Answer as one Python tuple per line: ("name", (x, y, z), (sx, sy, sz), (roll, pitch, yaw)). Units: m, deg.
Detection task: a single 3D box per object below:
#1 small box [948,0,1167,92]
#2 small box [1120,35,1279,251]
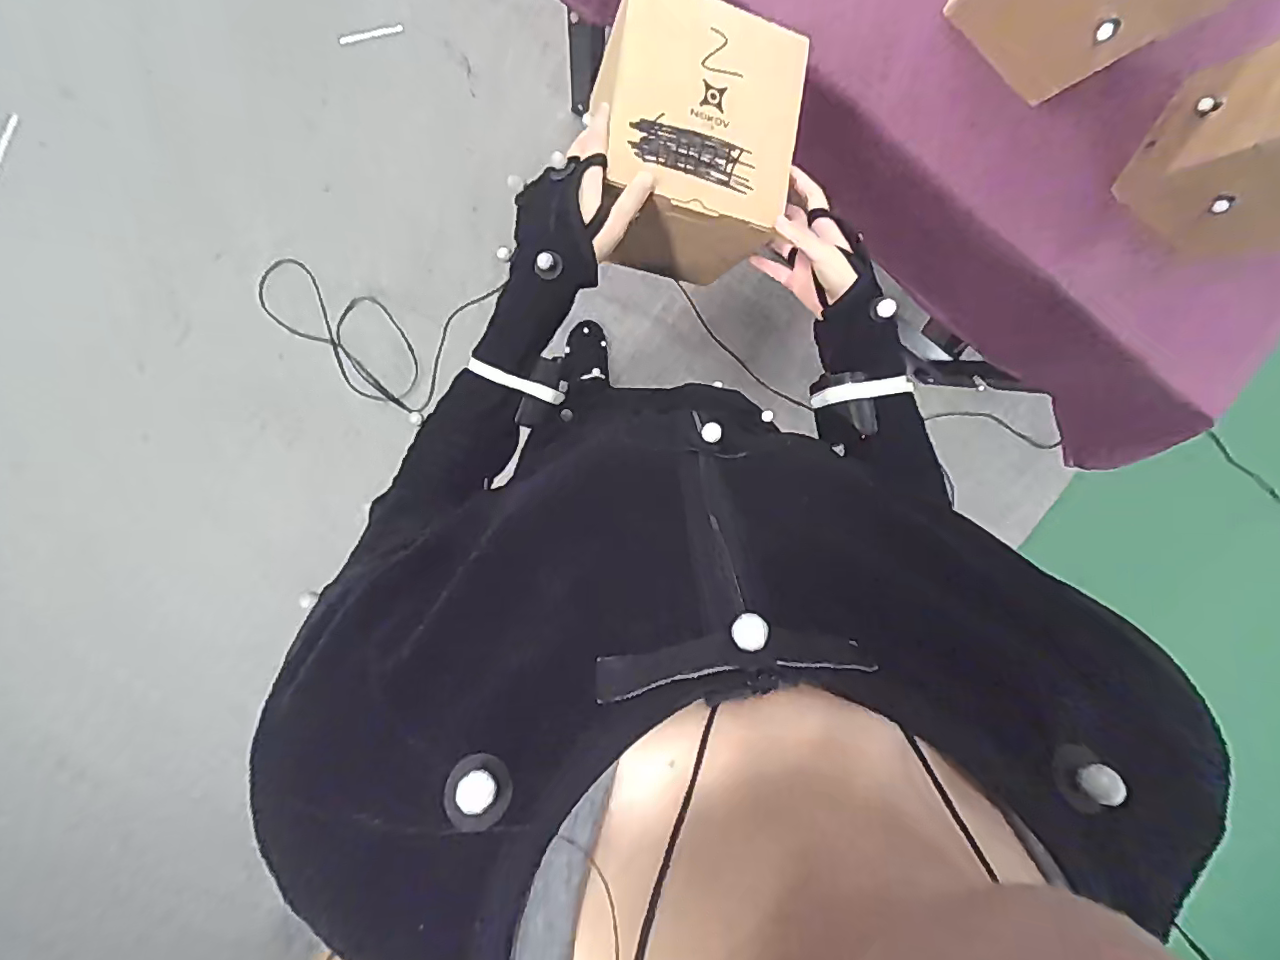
("small box", (0.491, -0.583, 0.595), (0.179, 0.176, 0.168), (33, 97, -13))
("small box", (0.759, -0.406, 0.658), (0.179, 0.176, 0.168), (29, 98, -10))
